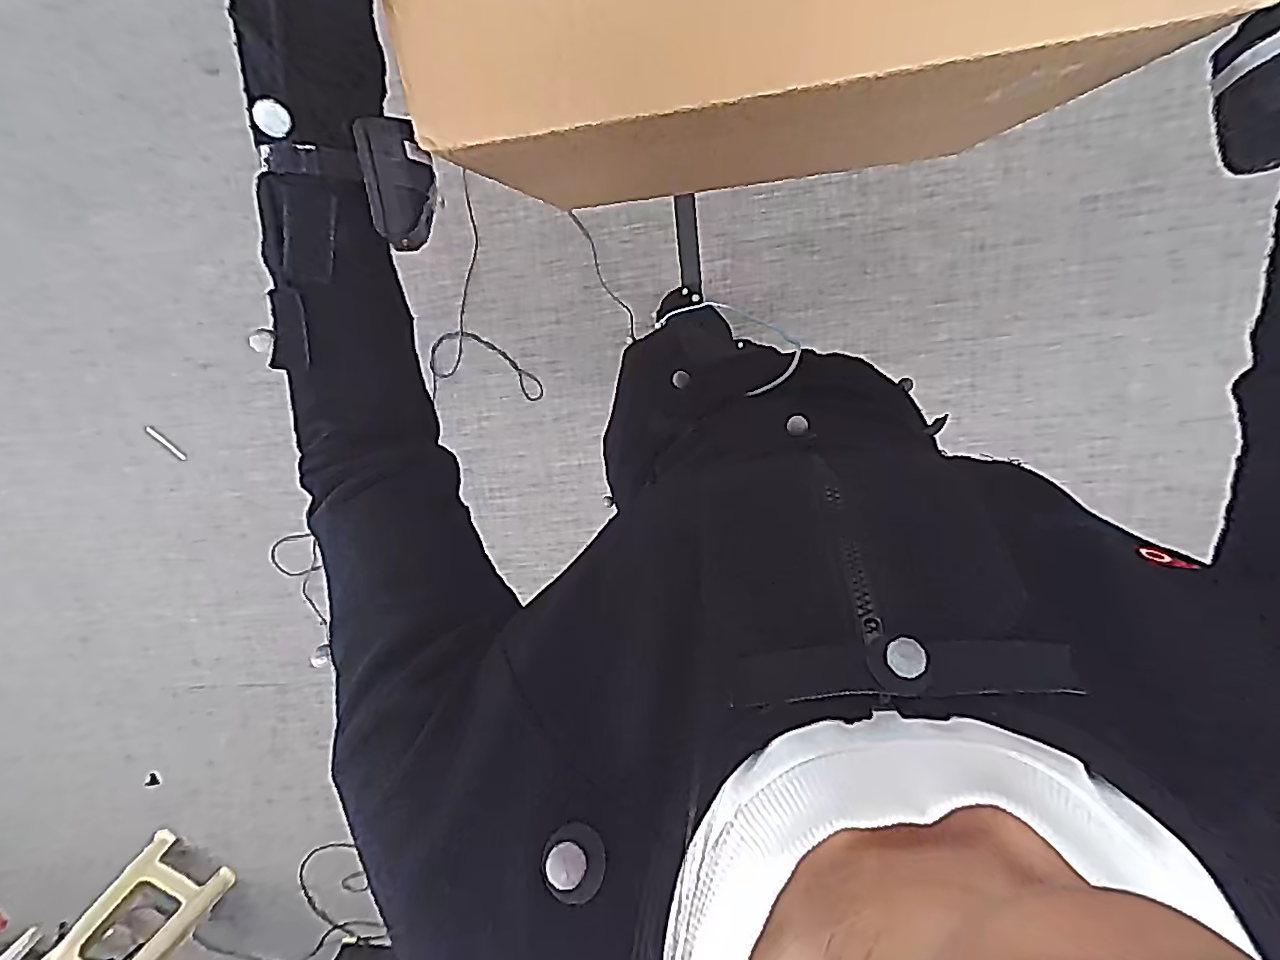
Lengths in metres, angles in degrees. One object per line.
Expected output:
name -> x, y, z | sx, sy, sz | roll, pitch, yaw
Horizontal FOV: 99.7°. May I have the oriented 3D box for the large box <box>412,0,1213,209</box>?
large box -> 0.076, -0.399, 0.365 | 0.408, 0.320, 0.320 | -5, 111, 7
